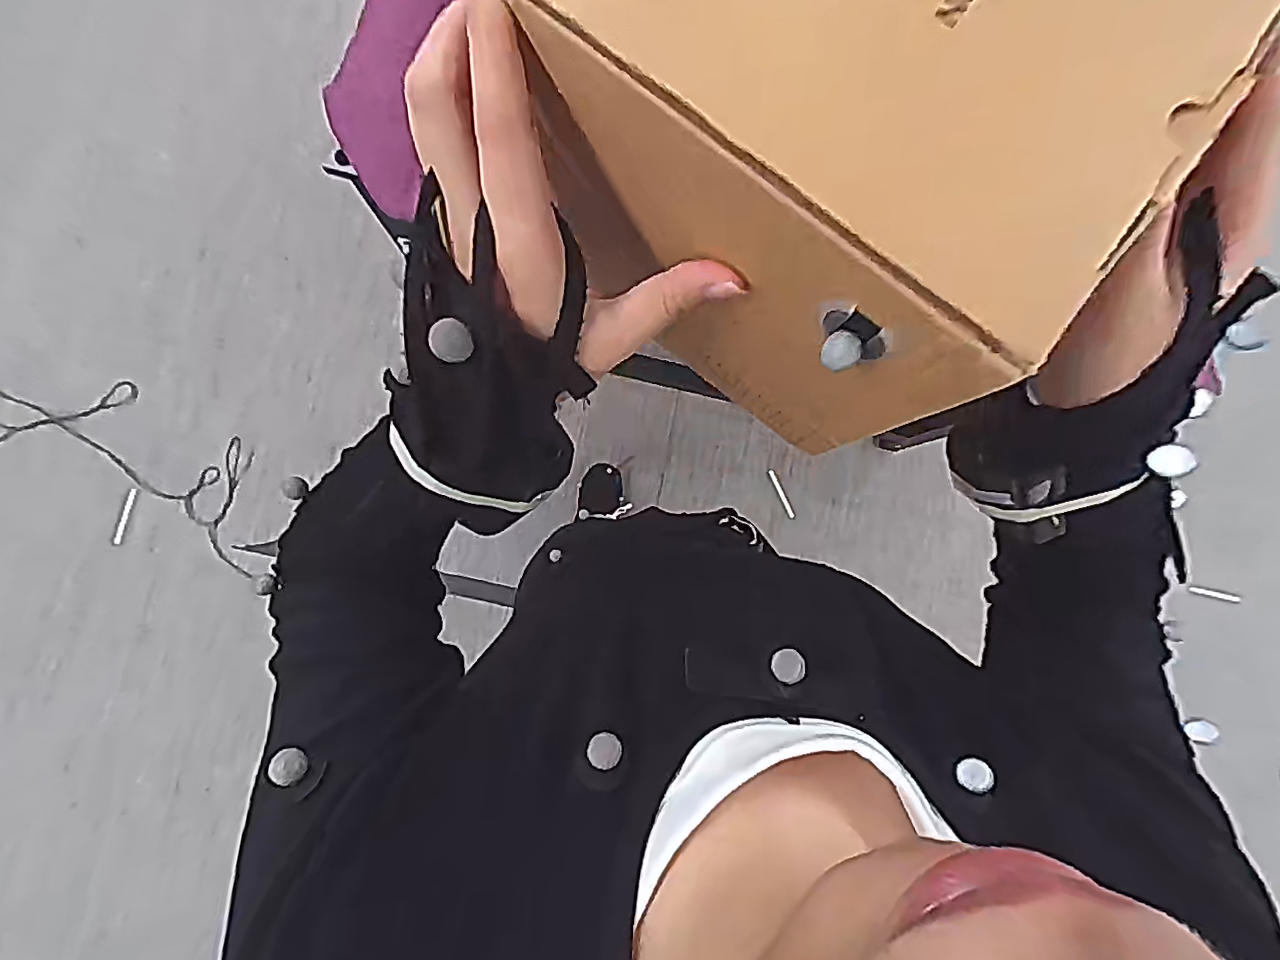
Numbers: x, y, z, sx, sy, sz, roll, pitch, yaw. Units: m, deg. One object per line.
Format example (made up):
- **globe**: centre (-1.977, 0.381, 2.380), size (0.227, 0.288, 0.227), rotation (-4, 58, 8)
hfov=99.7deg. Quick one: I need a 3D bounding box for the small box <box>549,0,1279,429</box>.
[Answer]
- **small box**: centre (0.082, -0.139, 0.218), size (0.179, 0.176, 0.168), rotation (37, 85, 0)
